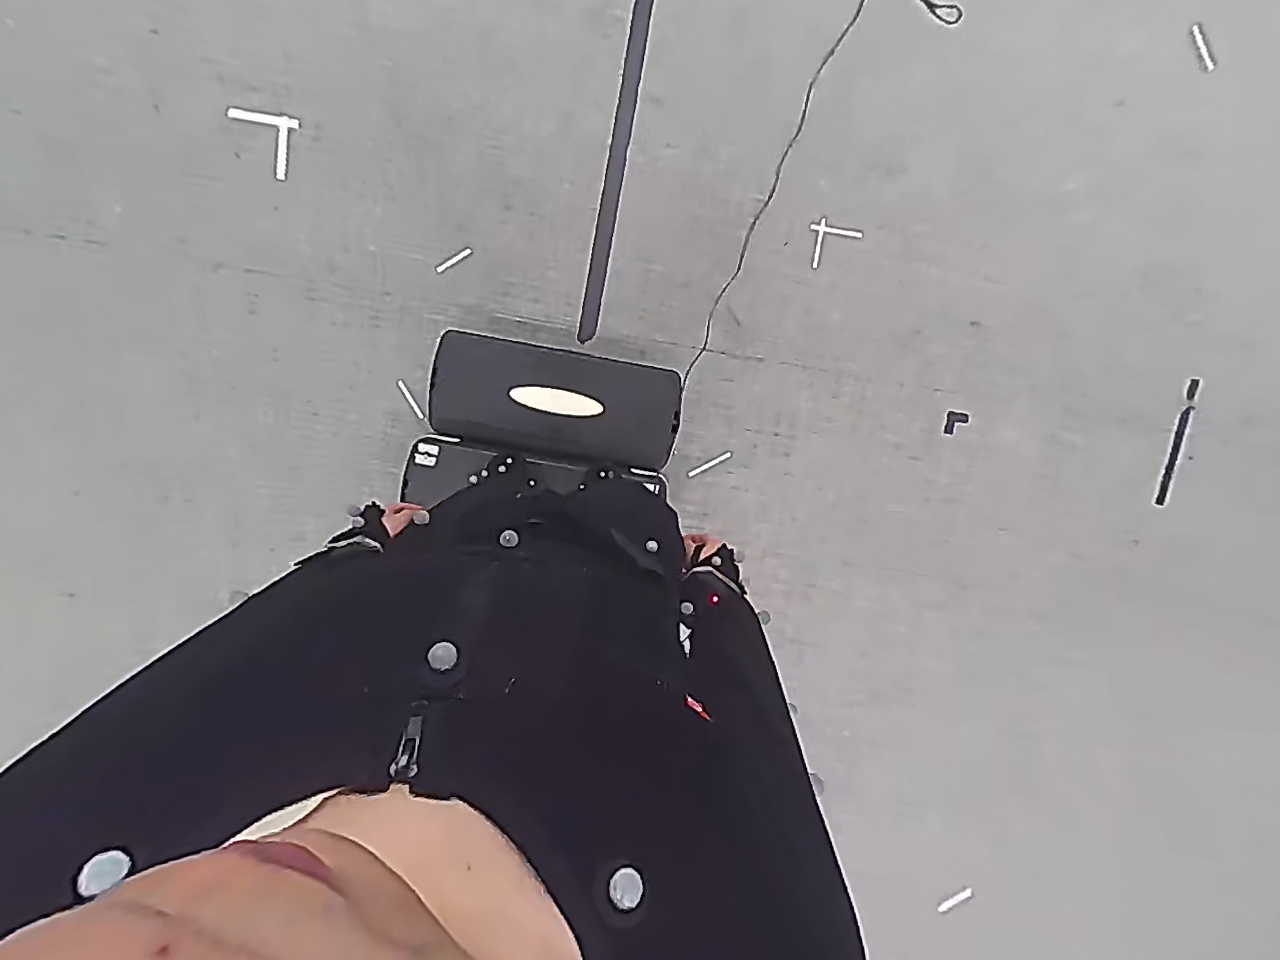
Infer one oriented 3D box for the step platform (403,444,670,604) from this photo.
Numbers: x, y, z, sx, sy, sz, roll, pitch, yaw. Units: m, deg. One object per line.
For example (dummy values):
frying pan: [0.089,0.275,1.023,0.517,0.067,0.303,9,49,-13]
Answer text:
step platform: [-0.263,0.116,1.457,0.684,0.204,0.286,14,93,-3]
